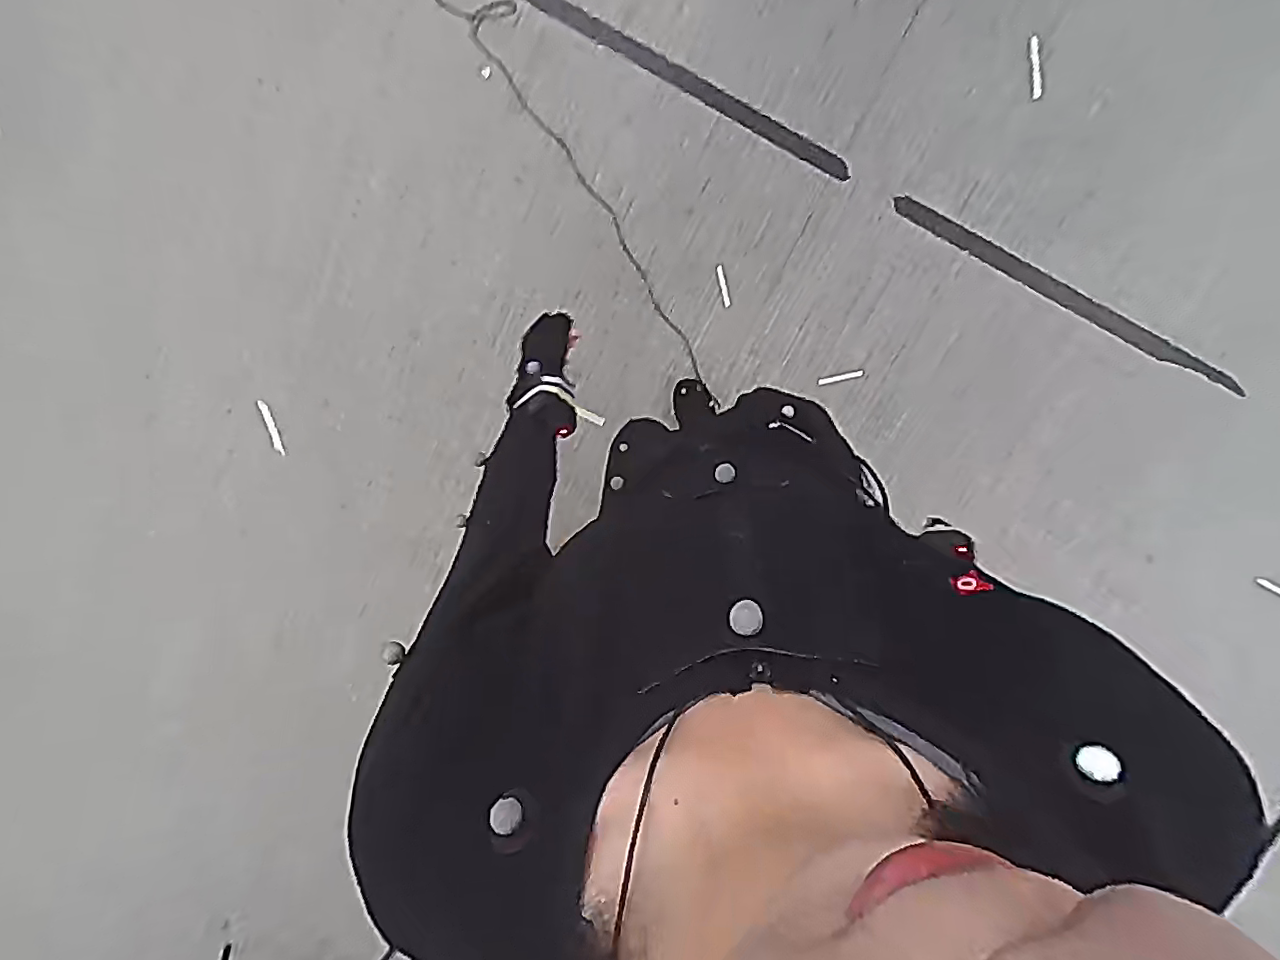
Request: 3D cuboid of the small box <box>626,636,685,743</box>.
[{"bbox_3d":[0.013,0.555,1.453,0.168,0.176,0.179,26,98,-1],"label":"small box"}]
